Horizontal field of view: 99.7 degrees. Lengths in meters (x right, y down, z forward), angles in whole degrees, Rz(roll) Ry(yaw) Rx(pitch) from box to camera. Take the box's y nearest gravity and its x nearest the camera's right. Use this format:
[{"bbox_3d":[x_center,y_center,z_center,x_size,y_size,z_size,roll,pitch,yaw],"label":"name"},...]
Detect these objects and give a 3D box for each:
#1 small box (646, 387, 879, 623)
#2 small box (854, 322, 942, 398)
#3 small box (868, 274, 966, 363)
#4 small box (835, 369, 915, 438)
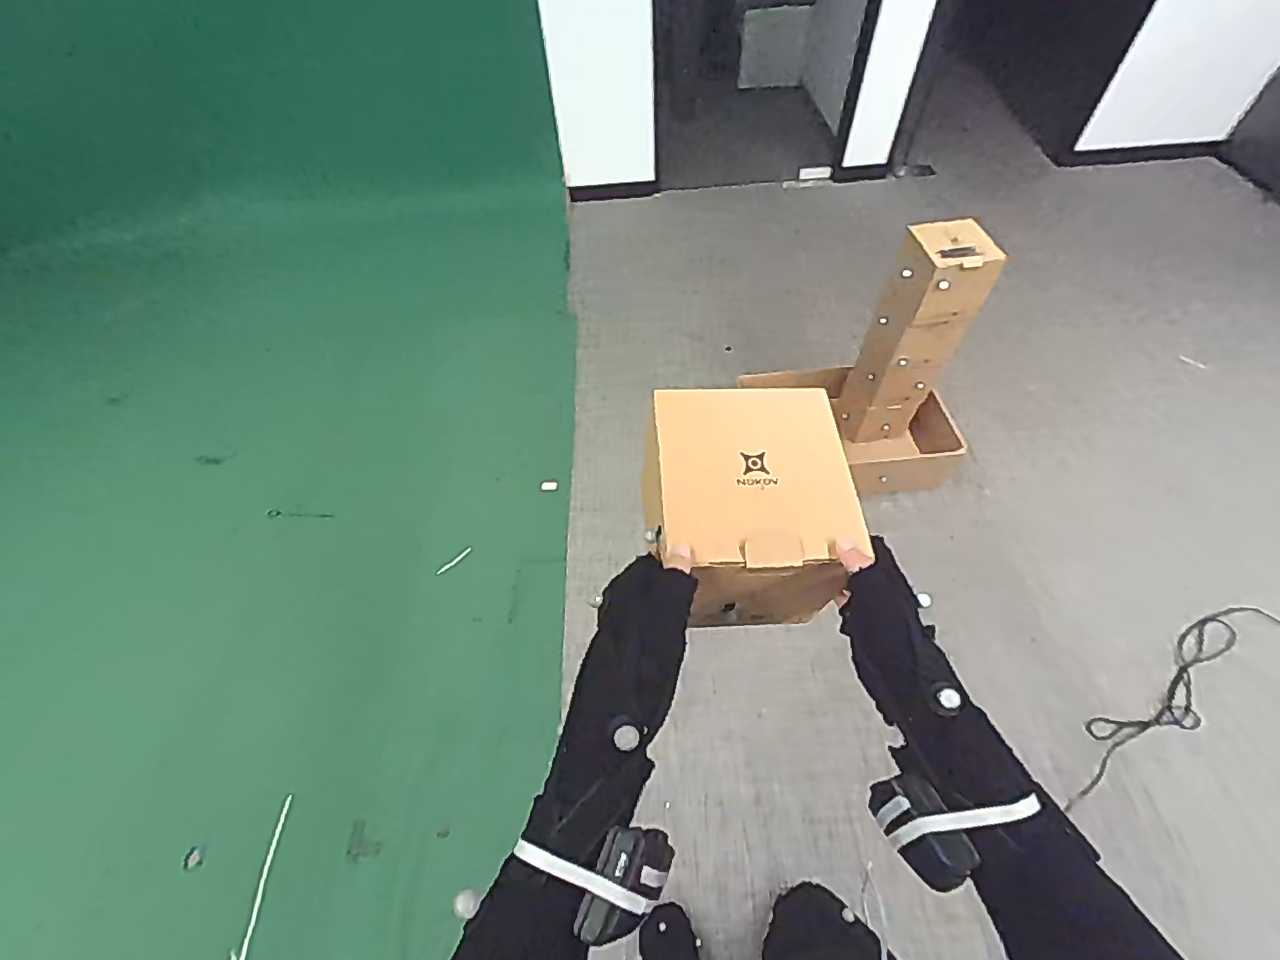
[{"bbox_3d":[0.097,0.029,0.529,0.168,0.176,0.179,-1,60,-5],"label":"small box"},{"bbox_3d":[0.762,-0.360,1.615,0.168,0.176,0.179,-6,55,0],"label":"small box"},{"bbox_3d":[0.753,-0.438,1.491,0.168,0.176,0.179,-4,55,0],"label":"small box"},{"bbox_3d":[0.757,-0.253,1.762,0.168,0.176,0.179,-10,54,-2],"label":"small box"}]
